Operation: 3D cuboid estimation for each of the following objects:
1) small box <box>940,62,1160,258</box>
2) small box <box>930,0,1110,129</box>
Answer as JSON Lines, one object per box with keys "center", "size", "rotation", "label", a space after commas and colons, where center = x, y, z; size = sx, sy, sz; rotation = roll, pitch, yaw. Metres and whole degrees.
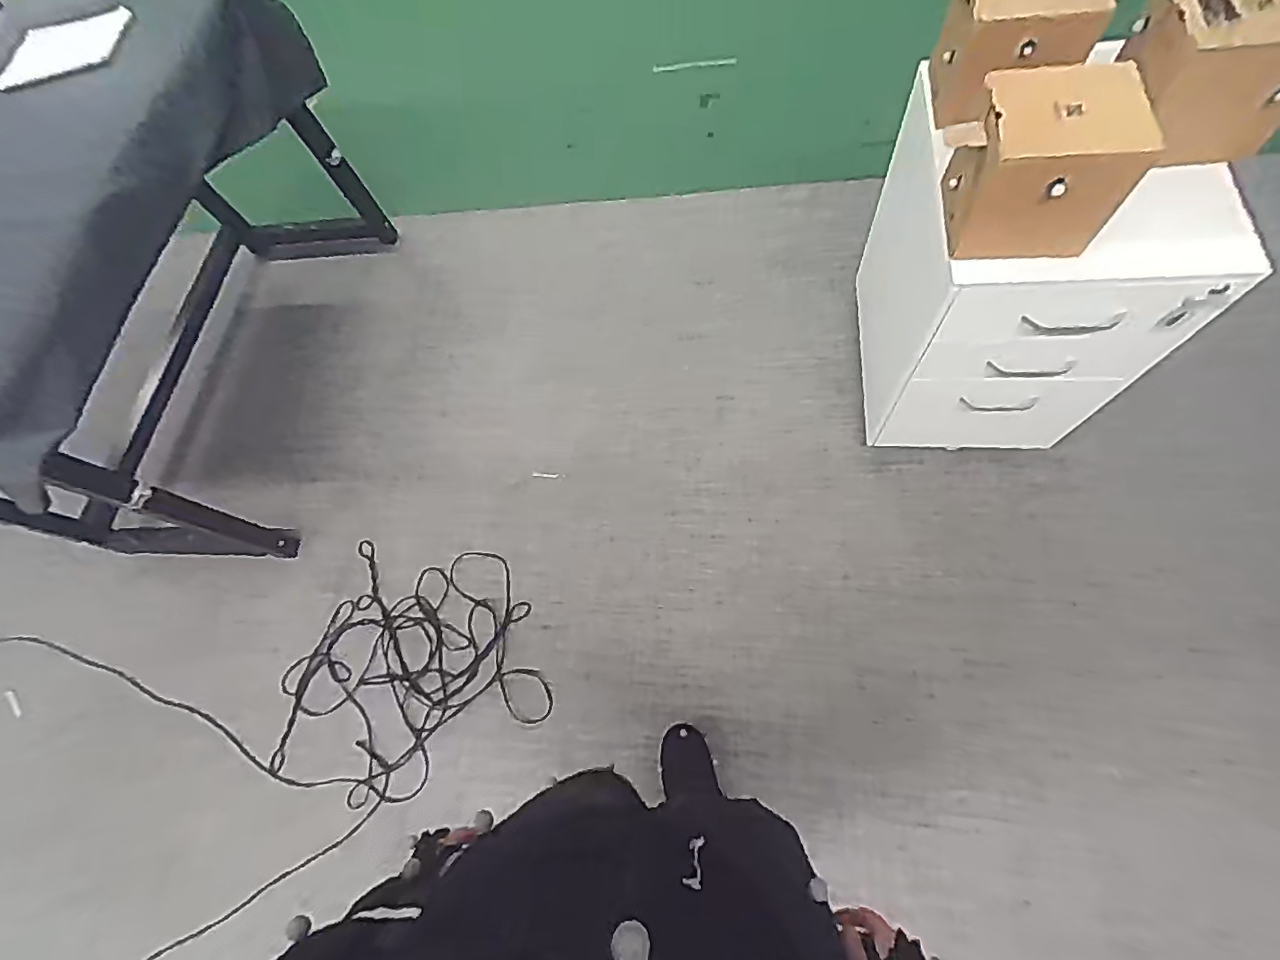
{"center": [0.544, -0.430, 0.748], "size": [0.179, 0.176, 0.168], "rotation": [2, 68, 10], "label": "small box"}
{"center": [0.574, -0.685, 0.849], "size": [0.179, 0.176, 0.168], "rotation": [3, 70, 9], "label": "small box"}
